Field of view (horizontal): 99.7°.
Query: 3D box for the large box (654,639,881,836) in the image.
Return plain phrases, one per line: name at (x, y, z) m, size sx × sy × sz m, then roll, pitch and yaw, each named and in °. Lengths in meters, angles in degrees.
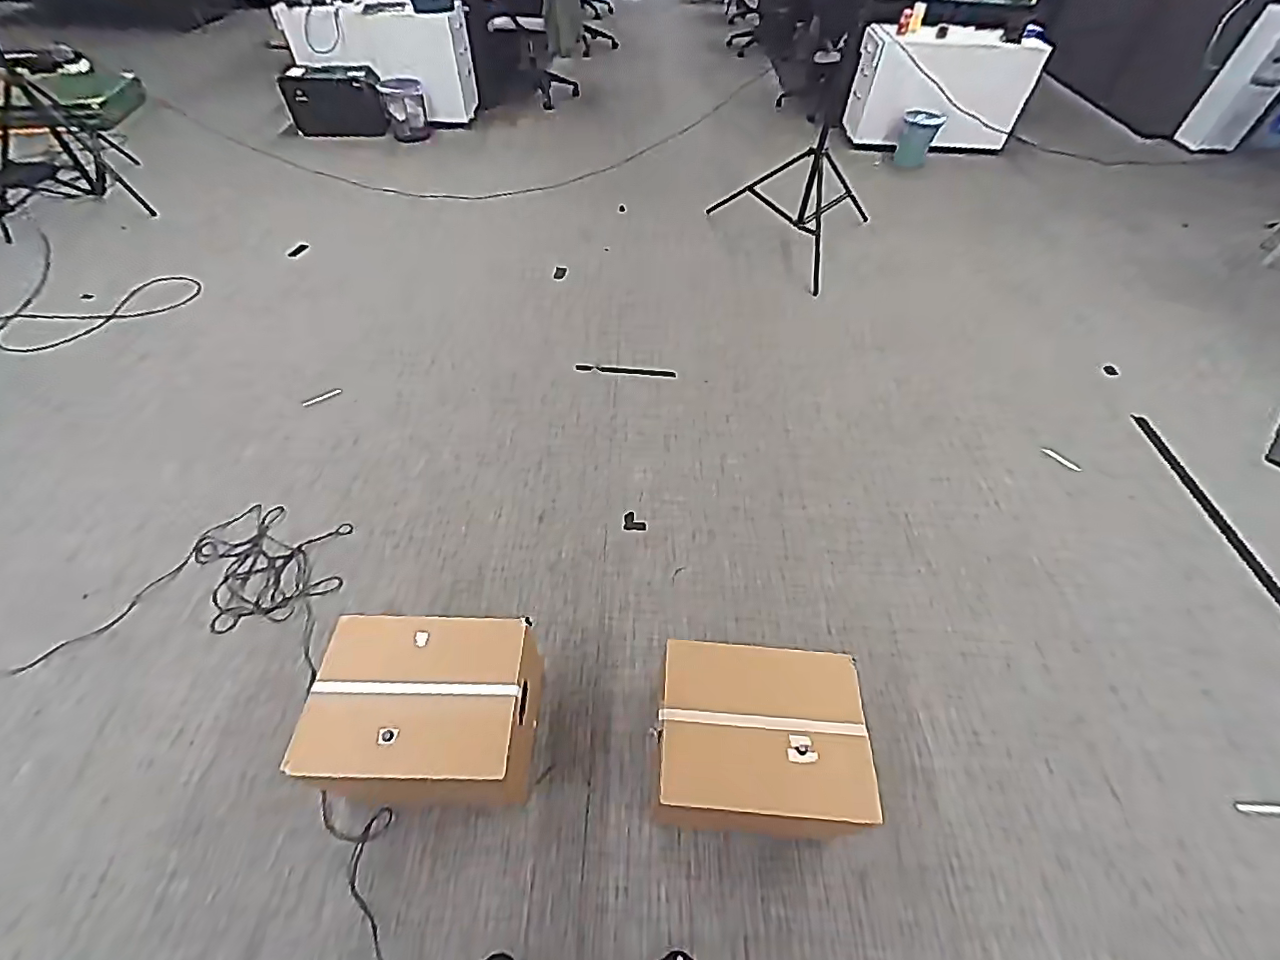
large box at (0.243, 0.572, 1.191) m, size 0.408 × 0.320 × 0.320 m, roll 5°, pitch 51°, yaw 1°
